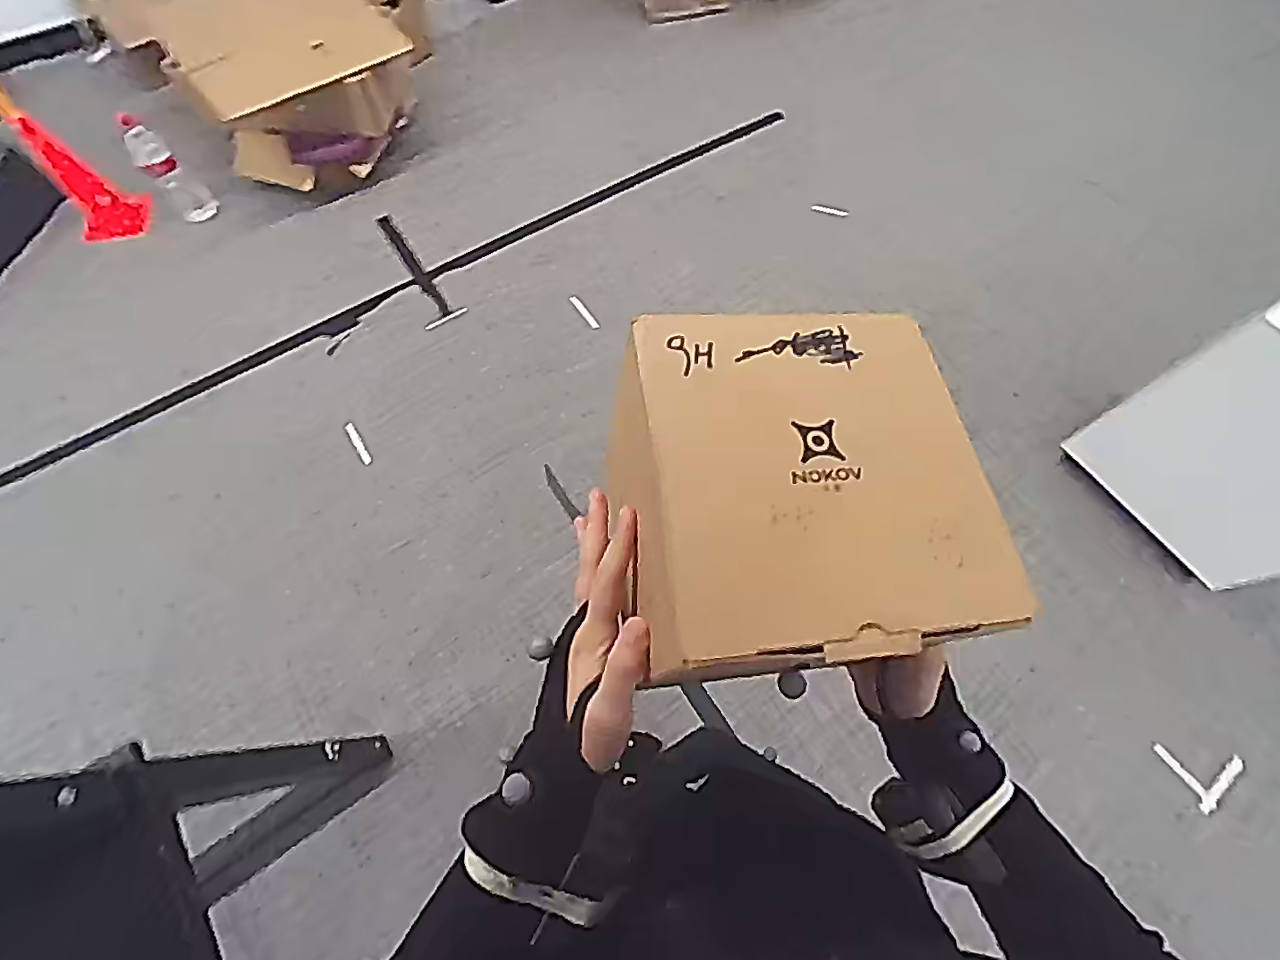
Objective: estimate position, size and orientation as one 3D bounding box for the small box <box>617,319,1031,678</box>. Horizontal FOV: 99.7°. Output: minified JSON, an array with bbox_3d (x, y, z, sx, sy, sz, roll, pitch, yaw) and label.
[{"bbox_3d":[0.078,0.024,0.334,0.168,0.176,0.179,-2,67,-9],"label":"small box"}]
